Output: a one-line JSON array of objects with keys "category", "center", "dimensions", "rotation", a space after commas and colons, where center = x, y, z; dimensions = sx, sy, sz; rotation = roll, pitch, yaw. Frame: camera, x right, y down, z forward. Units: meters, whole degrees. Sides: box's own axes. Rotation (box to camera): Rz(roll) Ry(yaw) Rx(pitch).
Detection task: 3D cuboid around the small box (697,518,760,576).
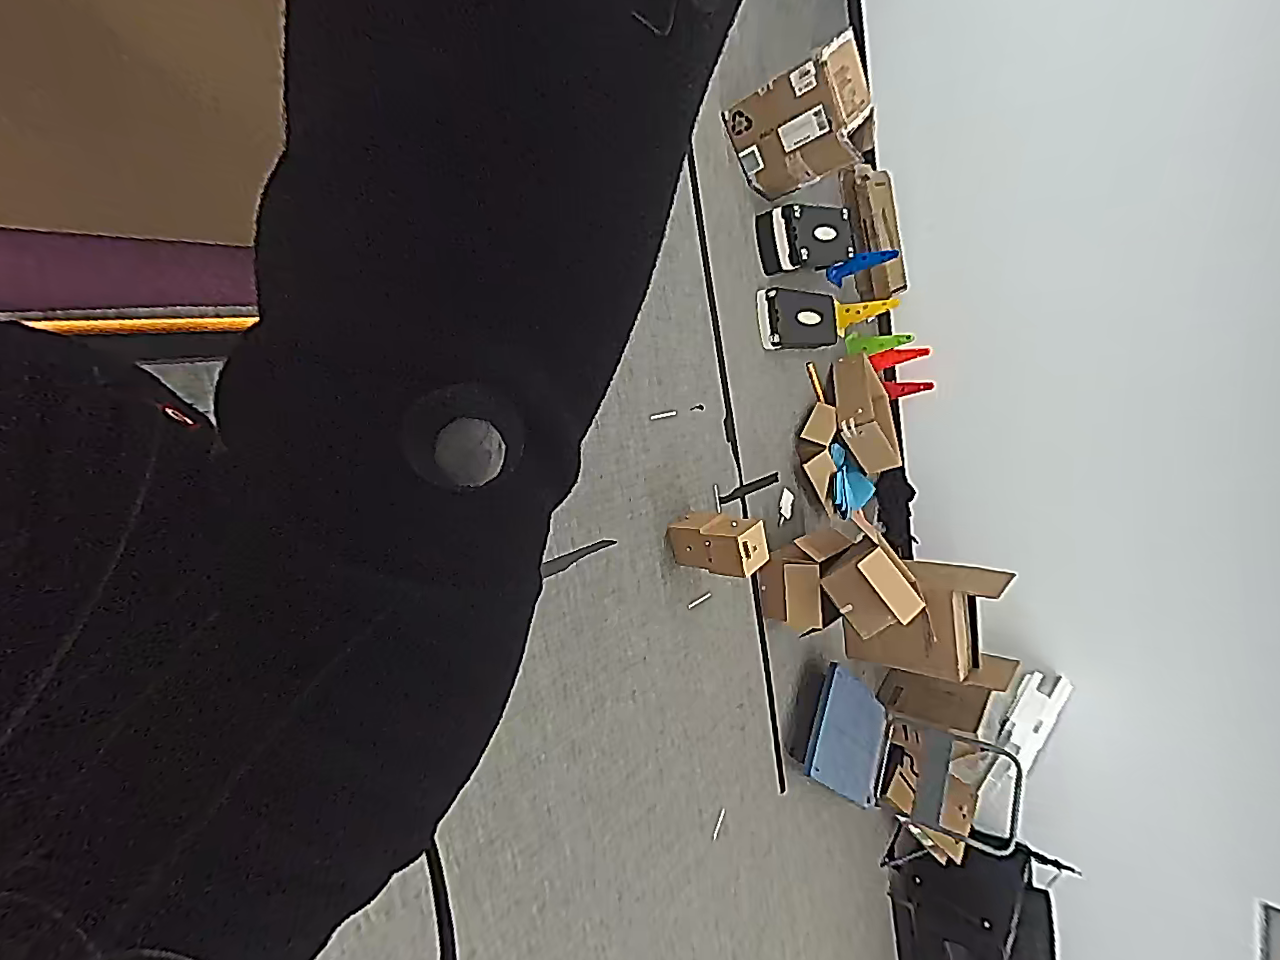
[{"category": "small box", "center": [0.330, 0.251, 2.058], "dimensions": [0.179, 0.176, 0.168], "rotation": [-26, 108, -44]}]
